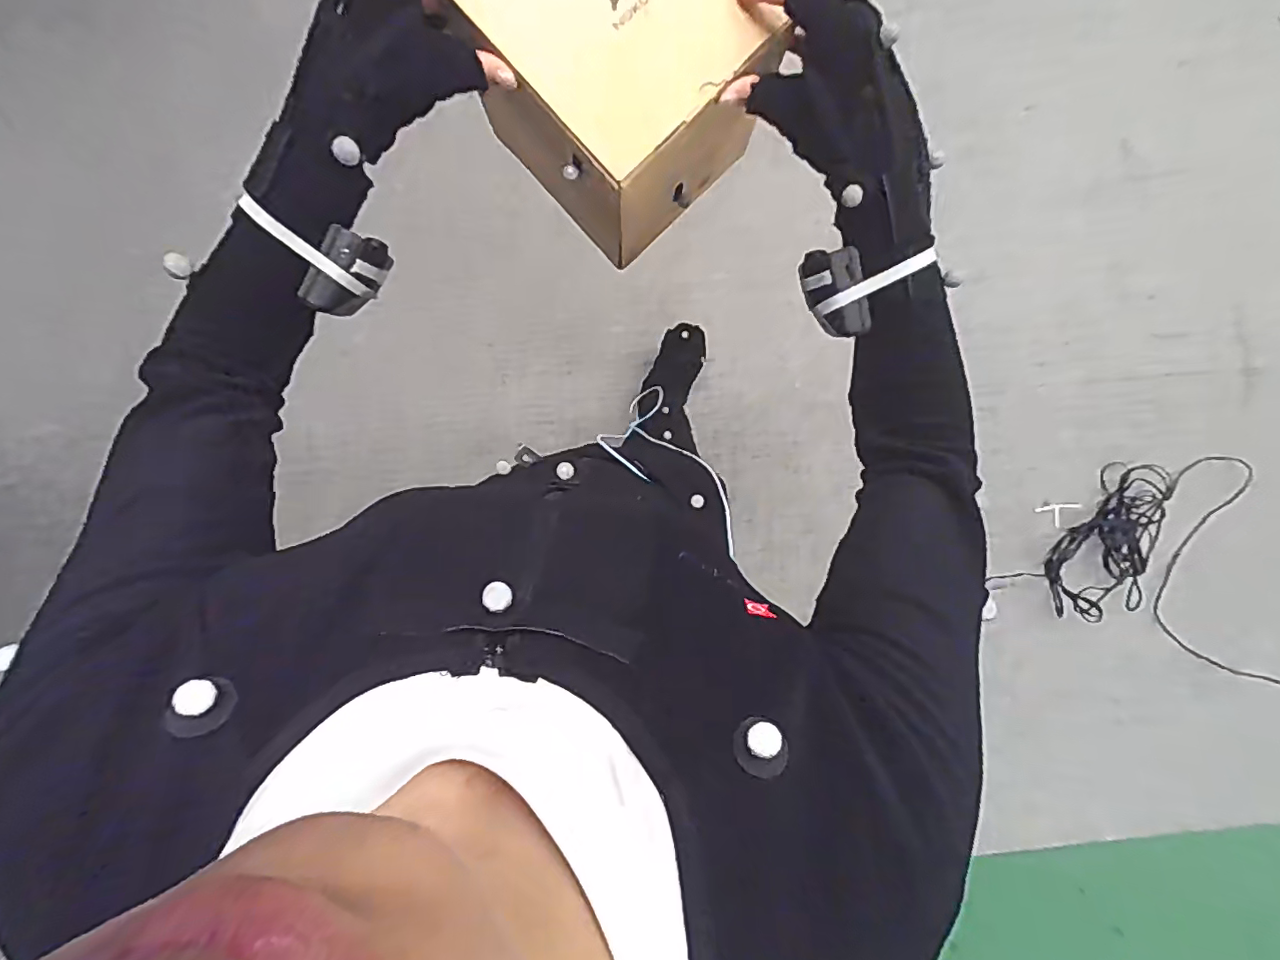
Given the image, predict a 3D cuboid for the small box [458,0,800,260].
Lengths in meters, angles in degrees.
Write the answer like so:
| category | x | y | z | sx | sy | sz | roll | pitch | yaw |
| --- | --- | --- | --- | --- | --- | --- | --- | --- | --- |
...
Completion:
| category | x | y | z | sx | sy | sz | roll | pitch | yaw |
| --- | --- | --- | --- | --- | --- | --- | --- | --- | --- |
| small box | -0.013 | -0.316 | 0.436 | 0.168 | 0.176 | 0.179 | -43 | 95 | 0 |
